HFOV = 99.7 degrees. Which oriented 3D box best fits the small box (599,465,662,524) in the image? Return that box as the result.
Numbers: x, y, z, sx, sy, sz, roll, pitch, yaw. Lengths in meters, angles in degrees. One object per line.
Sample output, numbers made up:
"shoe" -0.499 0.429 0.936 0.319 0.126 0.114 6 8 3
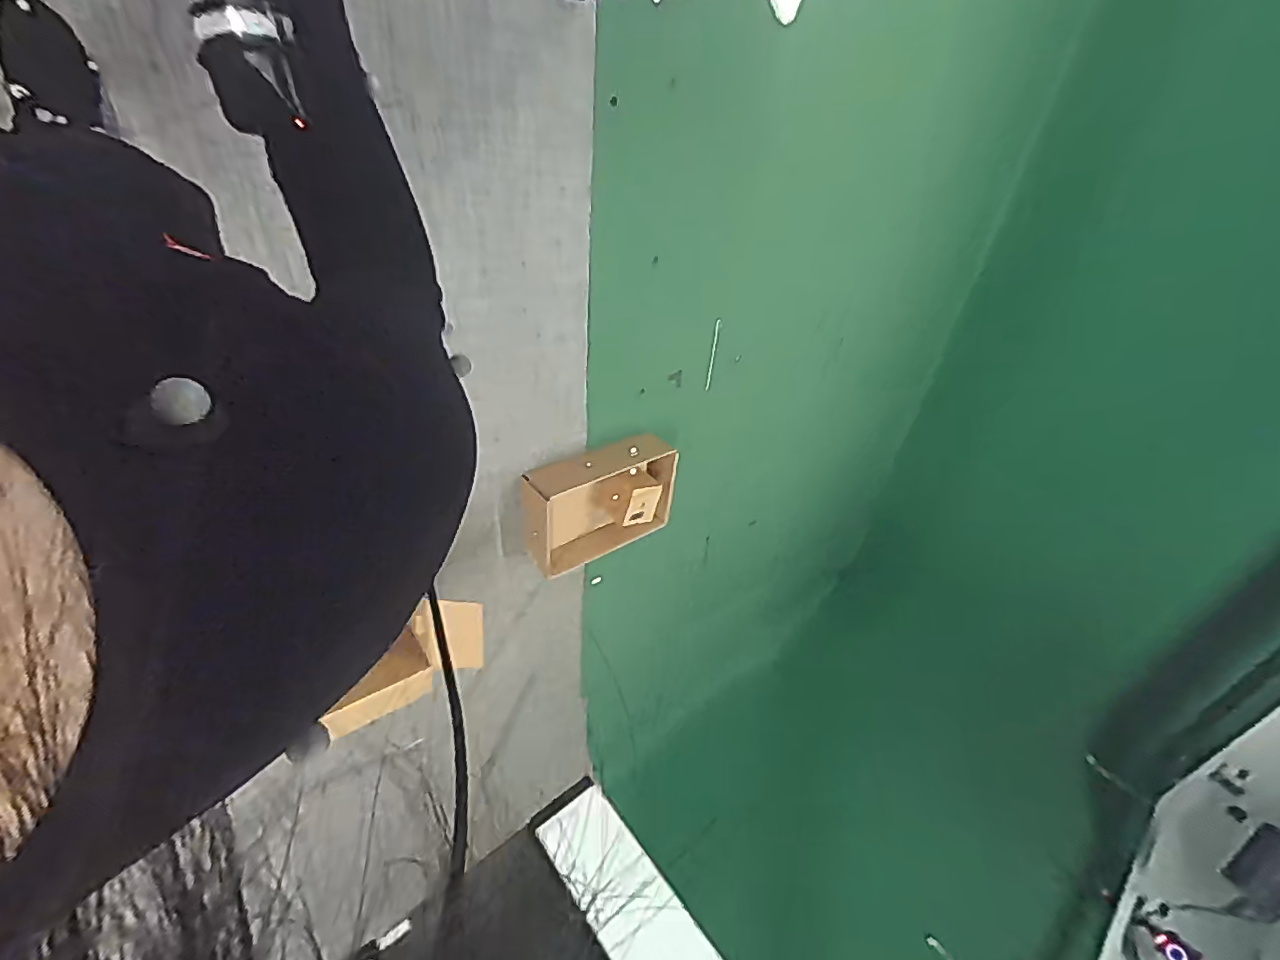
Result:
"small box" -0.045 0.055 2.213 0.168 0.176 0.179 -7 124 -43
